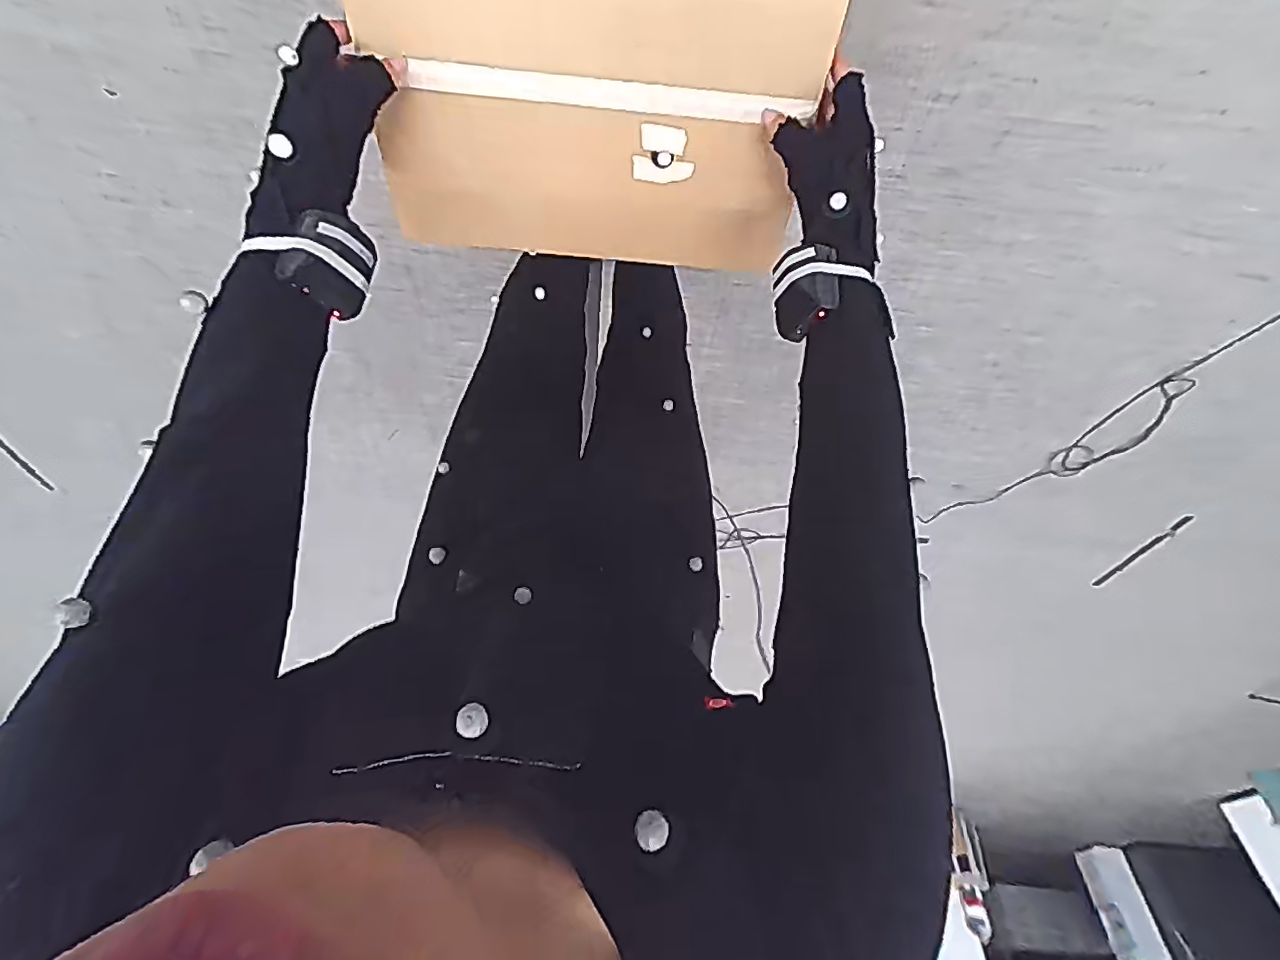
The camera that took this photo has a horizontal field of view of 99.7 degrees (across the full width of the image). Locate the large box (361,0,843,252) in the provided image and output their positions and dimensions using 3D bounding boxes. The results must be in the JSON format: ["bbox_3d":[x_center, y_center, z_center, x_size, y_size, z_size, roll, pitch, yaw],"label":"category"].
[{"bbox_3d":[-0.036,-0.476,0.577,0.408,0.320,0.320,3,141,-4],"label":"large box"}]
